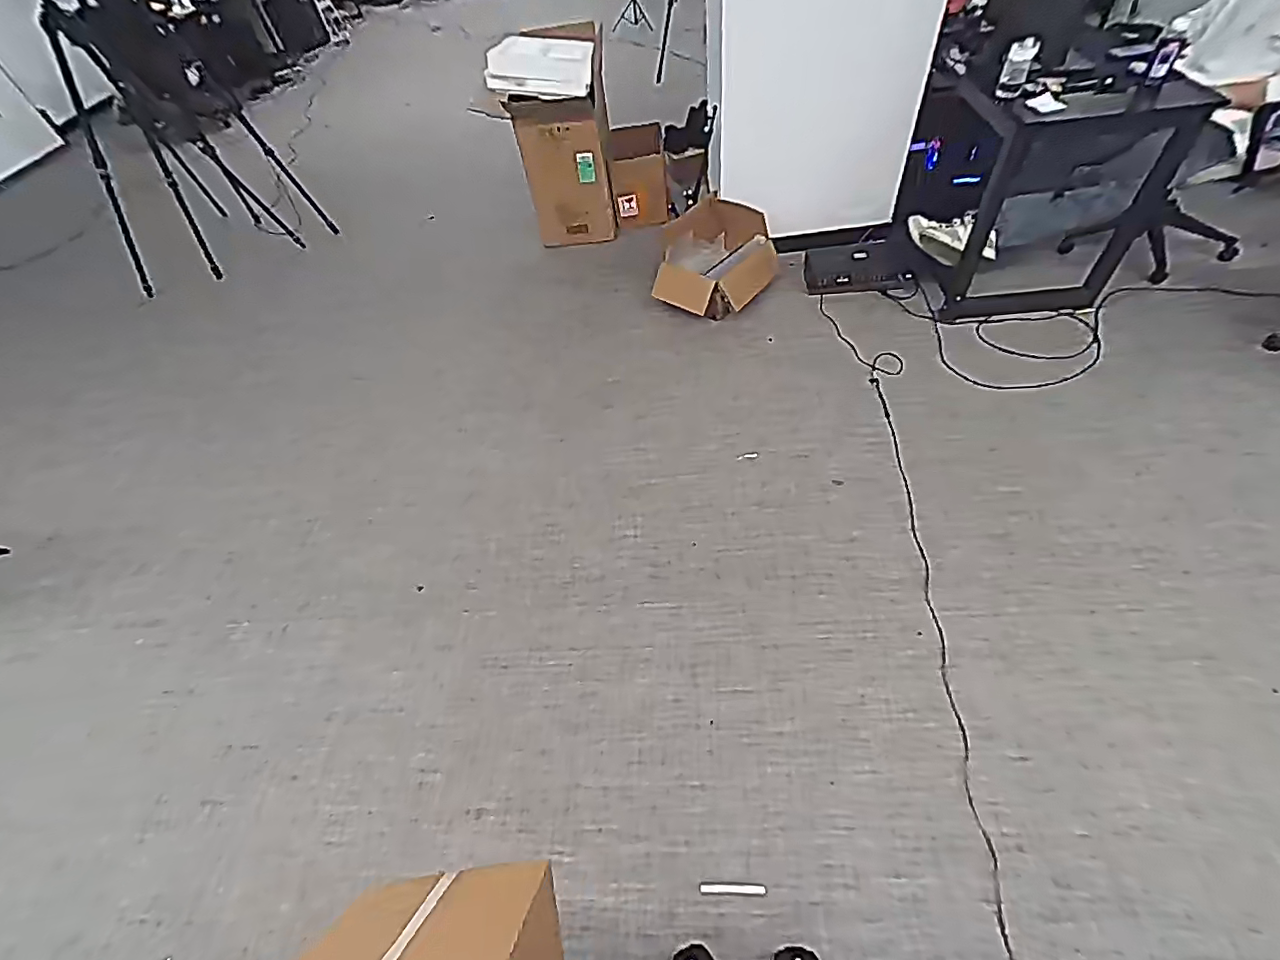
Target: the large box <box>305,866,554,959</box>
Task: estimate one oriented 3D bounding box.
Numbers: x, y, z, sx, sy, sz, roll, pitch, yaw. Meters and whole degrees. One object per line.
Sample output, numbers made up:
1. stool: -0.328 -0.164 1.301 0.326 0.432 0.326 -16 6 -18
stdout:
1. large box: -0.283 0.761 0.654 0.320 0.408 0.320 -11 80 1
